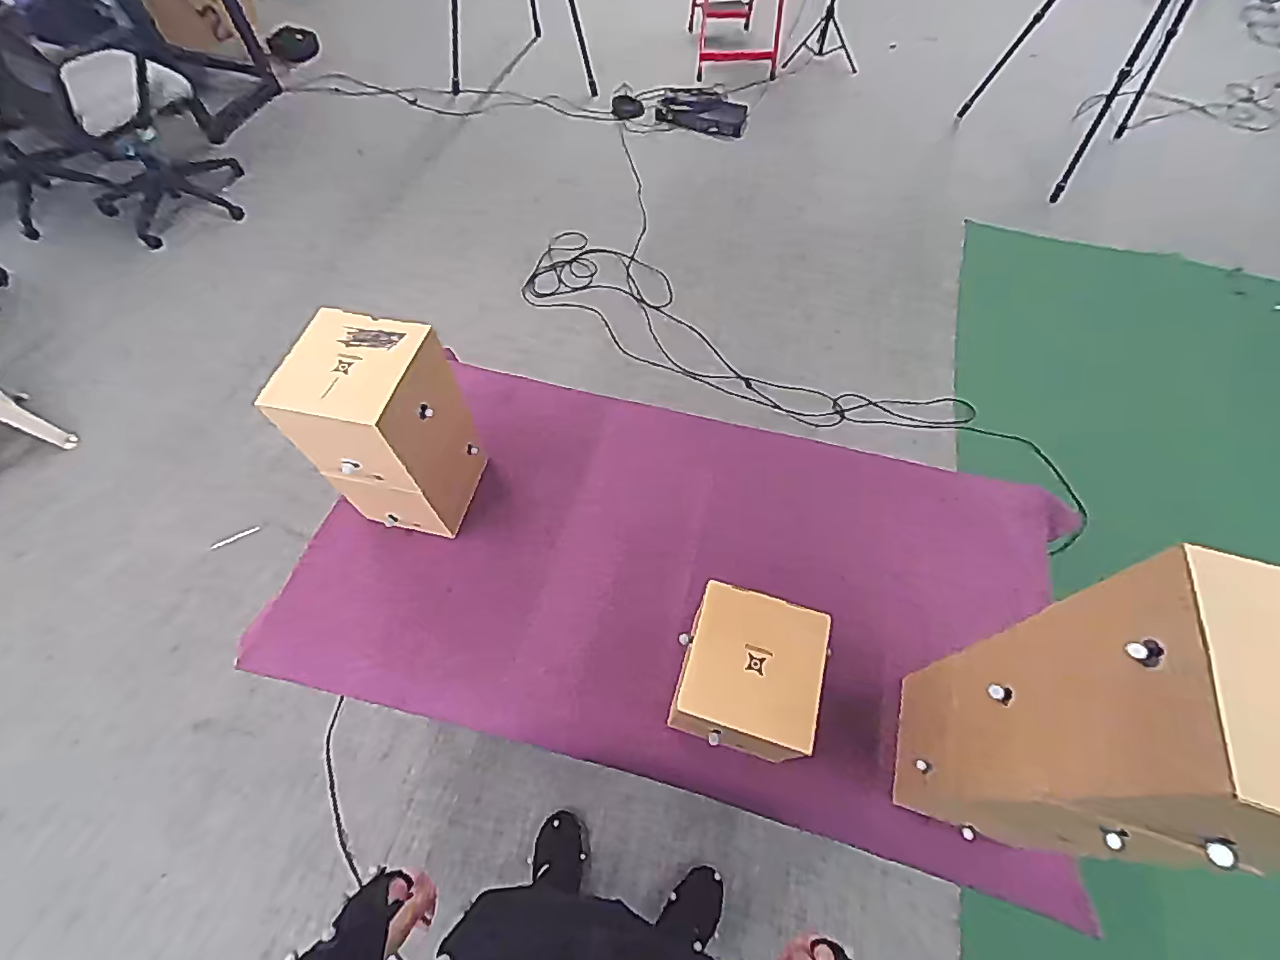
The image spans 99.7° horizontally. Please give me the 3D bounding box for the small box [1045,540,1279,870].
[{"bbox_3d":[0.448,0.177,0.414,0.168,0.176,0.179,16,61,10],"label":"small box"}]

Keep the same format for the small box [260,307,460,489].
[{"bbox_3d":[-0.377,-0.113,0.772,0.168,0.176,0.179,11,61,7],"label":"small box"}]

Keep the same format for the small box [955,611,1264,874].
[{"bbox_3d":[0.448,0.265,0.554,0.168,0.176,0.179,16,60,11],"label":"small box"}]

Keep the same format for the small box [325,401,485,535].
[{"bbox_3d":[-0.378,-0.030,0.914,0.168,0.176,0.179,11,61,7],"label":"small box"}]

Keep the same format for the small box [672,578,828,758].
[{"bbox_3d":[0.144,0.265,0.746,0.168,0.176,0.179,15,59,9],"label":"small box"}]
